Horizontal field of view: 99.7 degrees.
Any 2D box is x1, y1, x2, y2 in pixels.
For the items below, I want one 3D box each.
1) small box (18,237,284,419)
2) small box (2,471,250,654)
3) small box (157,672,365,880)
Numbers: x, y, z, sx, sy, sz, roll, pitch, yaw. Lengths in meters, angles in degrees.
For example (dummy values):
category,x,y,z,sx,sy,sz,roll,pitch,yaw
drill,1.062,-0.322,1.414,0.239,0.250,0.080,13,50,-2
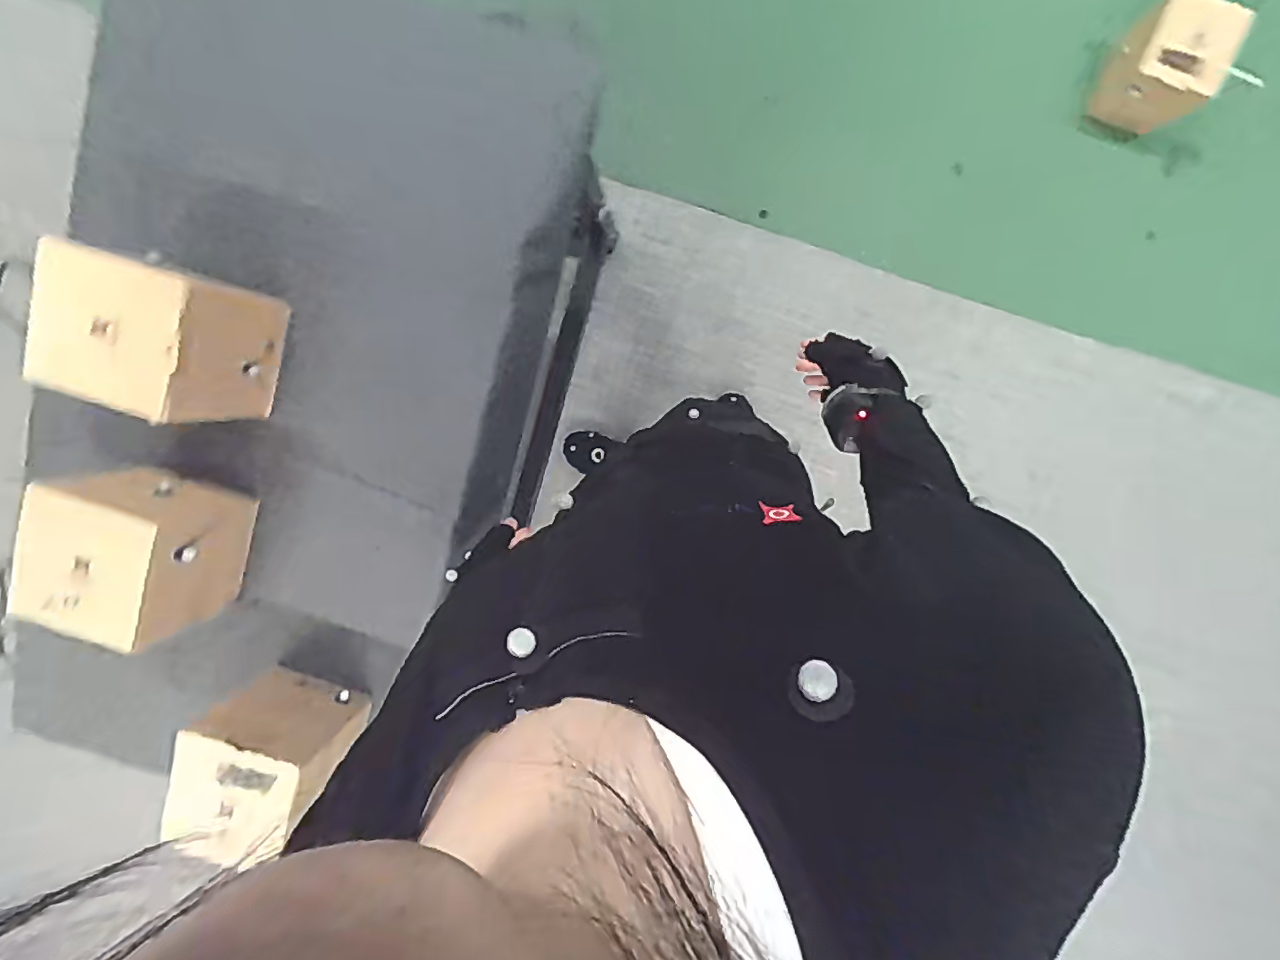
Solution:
category,x,y,z,sx,sy,sz,roll,pitch,yaw
small box,-0.607,-0.181,0.690,0.179,0.176,0.168,17,99,0
small box,-0.675,0.097,0.732,0.168,0.176,0.179,19,99,-1
small box,-0.524,0.405,0.771,0.168,0.176,0.179,17,99,1
